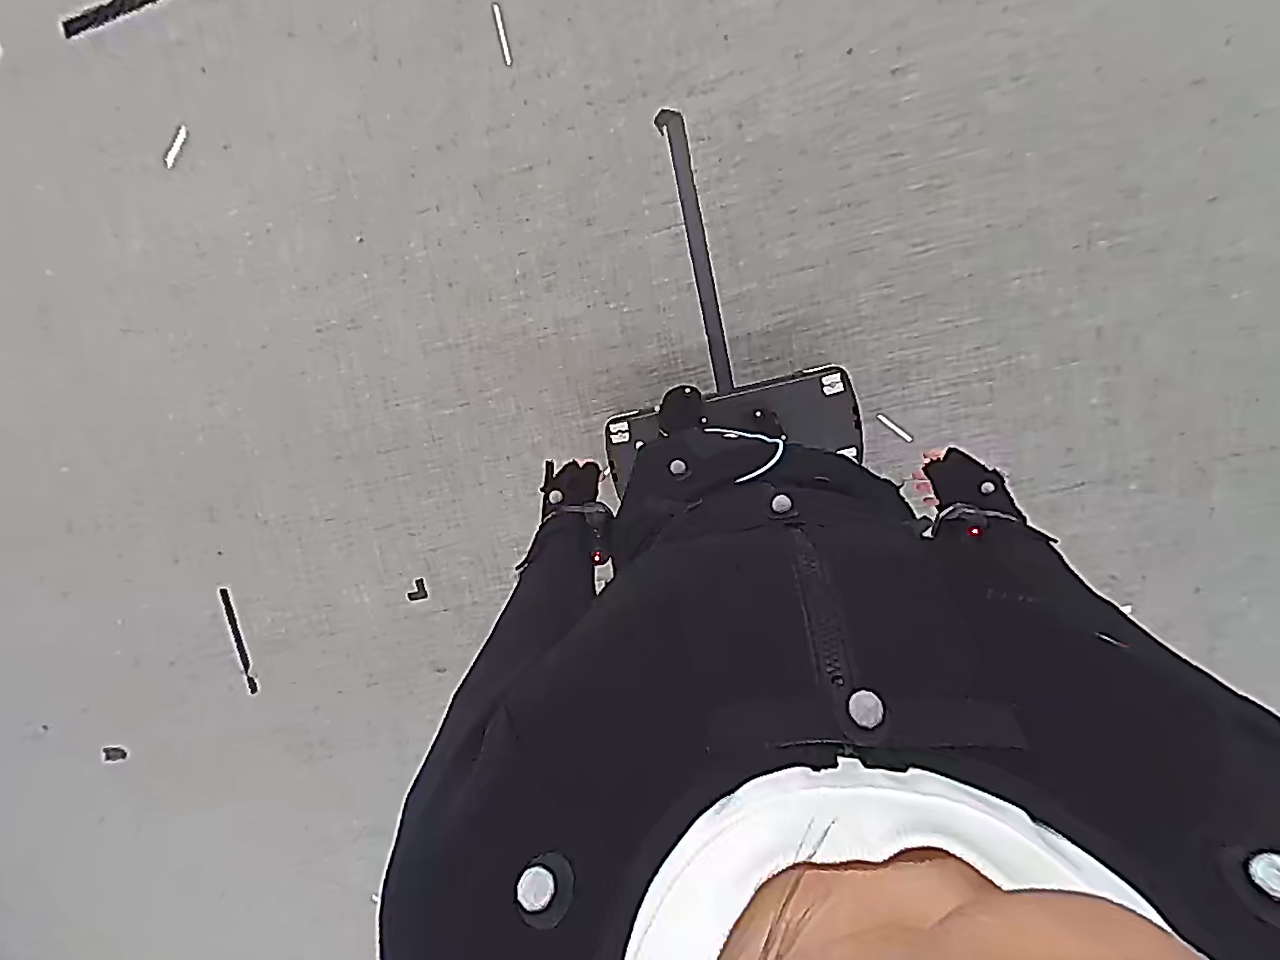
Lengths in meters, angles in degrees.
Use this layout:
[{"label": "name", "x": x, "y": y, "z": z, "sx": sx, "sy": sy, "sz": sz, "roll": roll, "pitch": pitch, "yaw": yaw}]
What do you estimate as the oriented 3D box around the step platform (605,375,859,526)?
[{"label": "step platform", "x": 0.247, "y": -0.079, "z": 1.521, "sx": 0.684, "sy": 0.204, "sz": 0.286, "roll": -13, "pitch": 98, "yaw": 8}]
